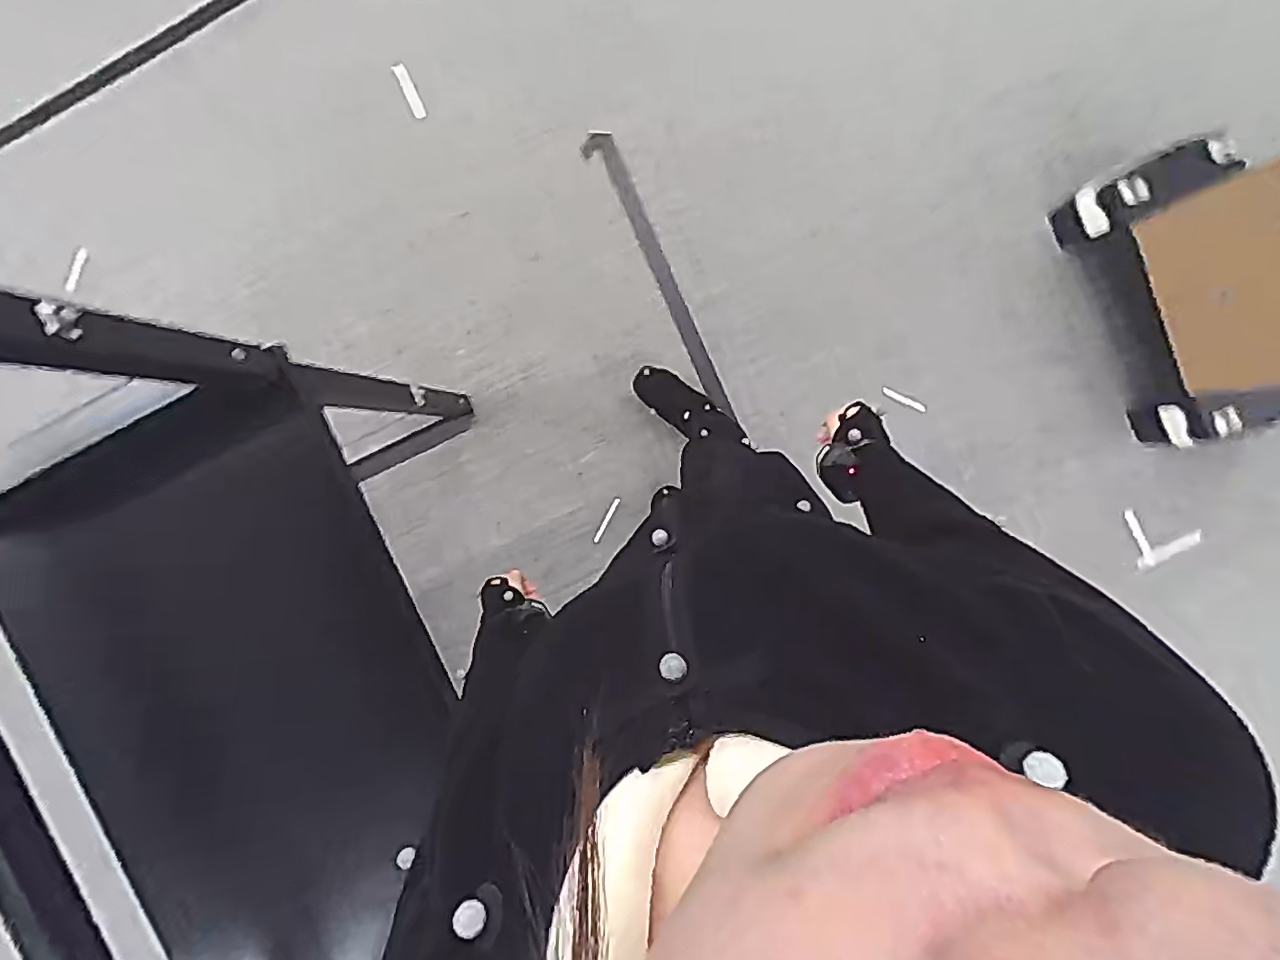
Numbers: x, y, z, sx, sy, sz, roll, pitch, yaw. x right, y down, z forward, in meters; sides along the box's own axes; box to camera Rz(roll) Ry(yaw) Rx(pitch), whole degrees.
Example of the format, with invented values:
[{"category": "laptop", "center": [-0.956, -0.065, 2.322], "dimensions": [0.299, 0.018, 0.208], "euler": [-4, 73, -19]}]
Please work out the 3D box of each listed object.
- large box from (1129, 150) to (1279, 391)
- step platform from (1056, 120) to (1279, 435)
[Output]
[{"category": "large box", "center": [1.282, -0.427, 1.044], "dimensions": [0.320, 0.320, 0.408], "euler": [-22, 91, 4]}, {"category": "step platform", "center": [1.279, -0.456, 1.281], "dimensions": [0.286, 0.204, 0.684], "euler": [-20, 91, 5]}]
